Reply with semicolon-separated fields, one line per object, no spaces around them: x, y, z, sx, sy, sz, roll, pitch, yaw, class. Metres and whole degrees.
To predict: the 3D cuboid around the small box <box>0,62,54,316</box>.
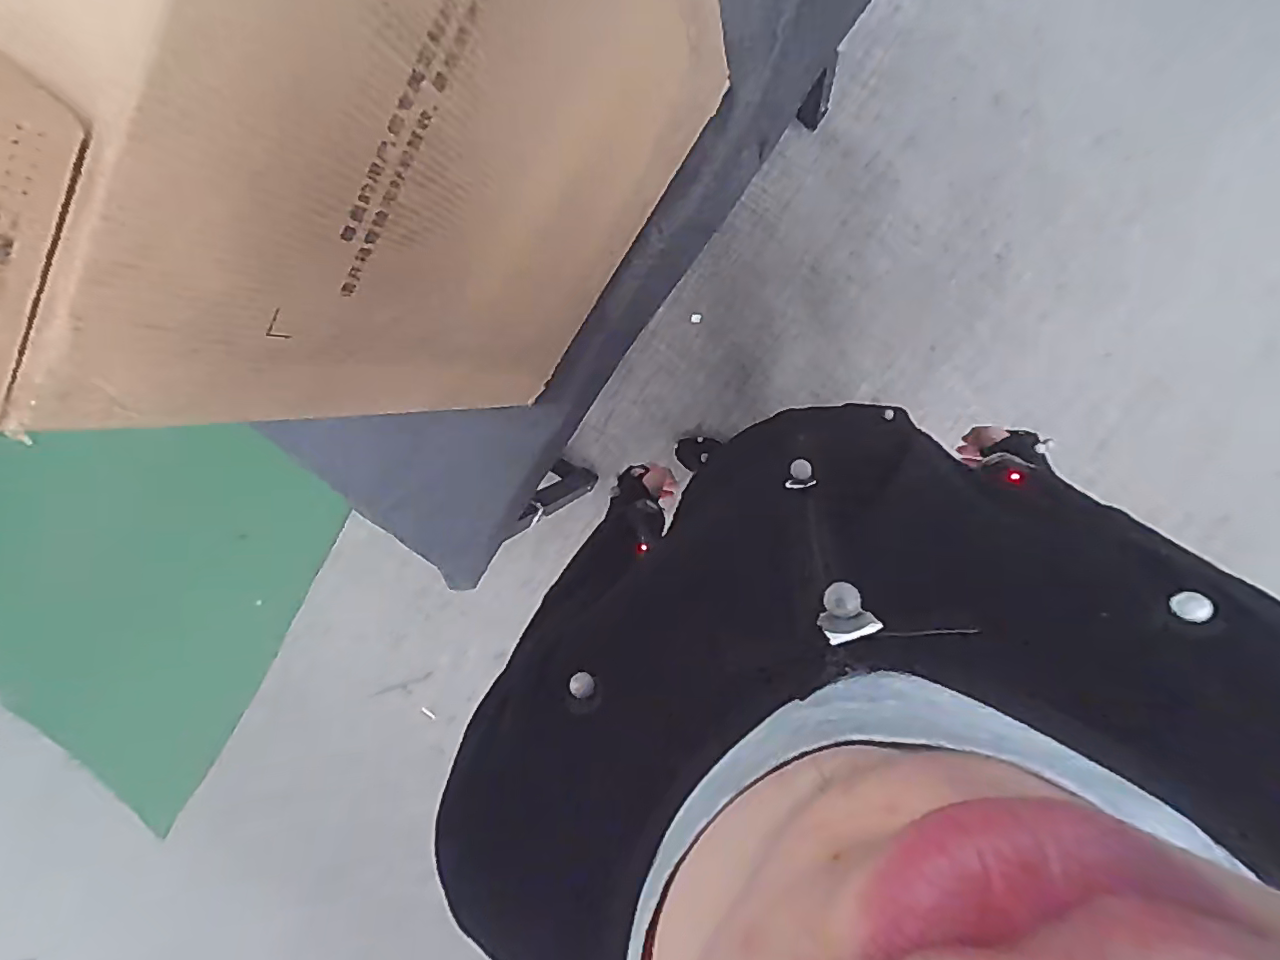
-0.364;-0.127;0.177;0.179;0.176;0.168;39;107;5;small box
